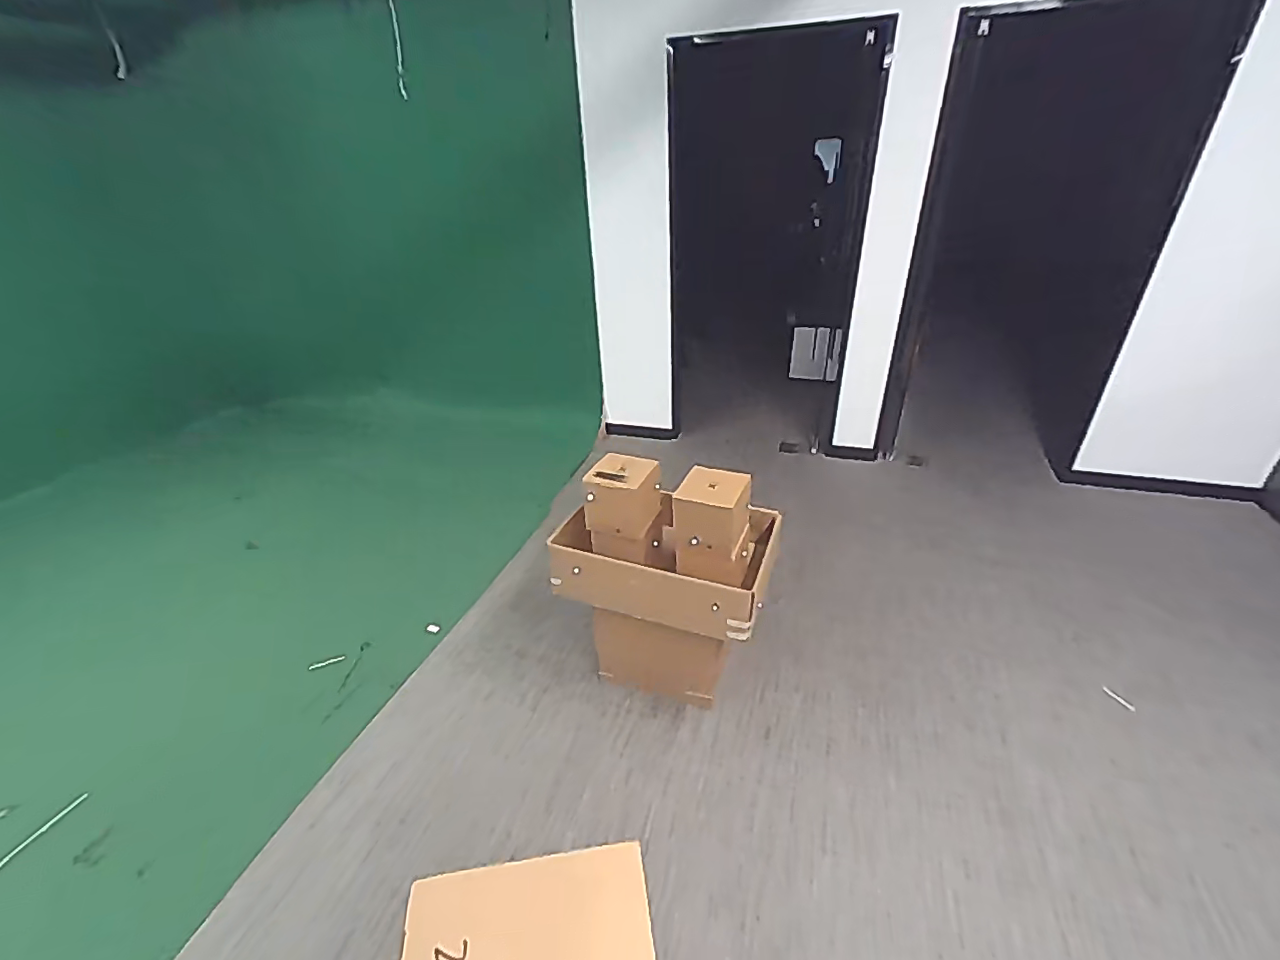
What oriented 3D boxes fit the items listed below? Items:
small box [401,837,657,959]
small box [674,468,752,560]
[{"bbox_3d":[-0.072,0.401,0.400,0.179,0.176,0.168,-6,34,-5],"label":"small box"},{"bbox_3d":[0.200,0.091,1.479,0.168,0.176,0.179,10,34,24],"label":"small box"}]
